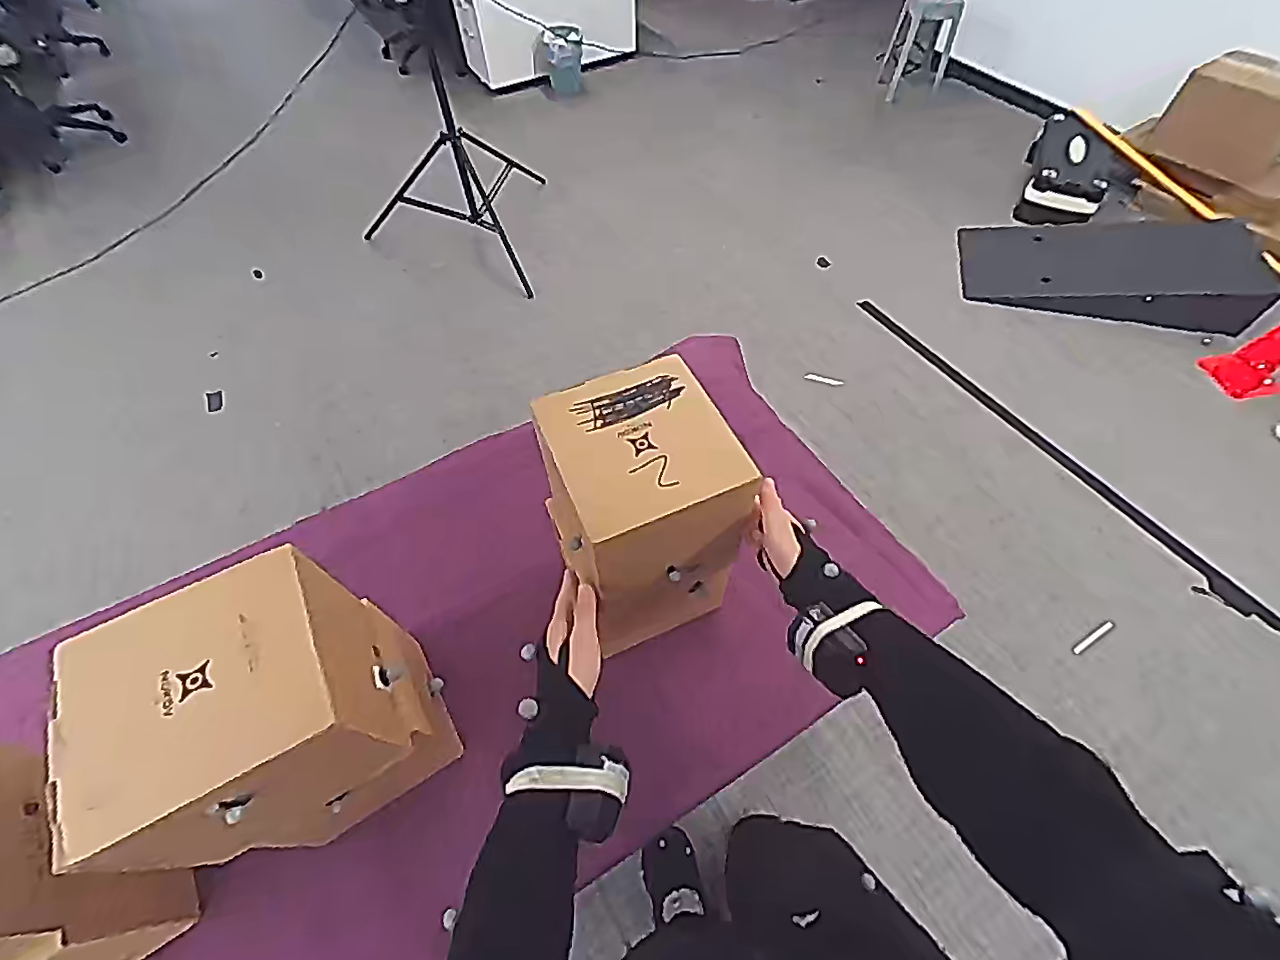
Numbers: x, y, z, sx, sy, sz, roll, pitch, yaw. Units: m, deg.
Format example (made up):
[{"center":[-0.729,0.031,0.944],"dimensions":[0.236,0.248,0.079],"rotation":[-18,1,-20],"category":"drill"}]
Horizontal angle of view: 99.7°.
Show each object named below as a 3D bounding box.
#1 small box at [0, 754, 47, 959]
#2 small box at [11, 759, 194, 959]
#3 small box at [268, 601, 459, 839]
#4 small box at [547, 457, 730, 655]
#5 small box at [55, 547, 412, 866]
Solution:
[{"center":[-0.594,0.313,0.390],"dimensions":[0.179,0.176,0.168],"rotation":[-32,61,-19],"category":"small box"},{"center":[-0.583,0.406,0.525],"dimensions":[0.168,0.176,0.179],"rotation":[-30,60,-17],"category":"small box"},{"center":[-0.332,0.273,0.606],"dimensions":[0.179,0.176,0.168],"rotation":[-28,61,-17],"category":"small box"},{"center":[-0.005,0.104,0.710],"dimensions":[0.179,0.176,0.168],"rotation":[-21,58,-12],"category":"small box"},{"center":[-0.329,0.194,0.465],"dimensions":[0.179,0.176,0.168],"rotation":[-26,61,-17],"category":"small box"}]
